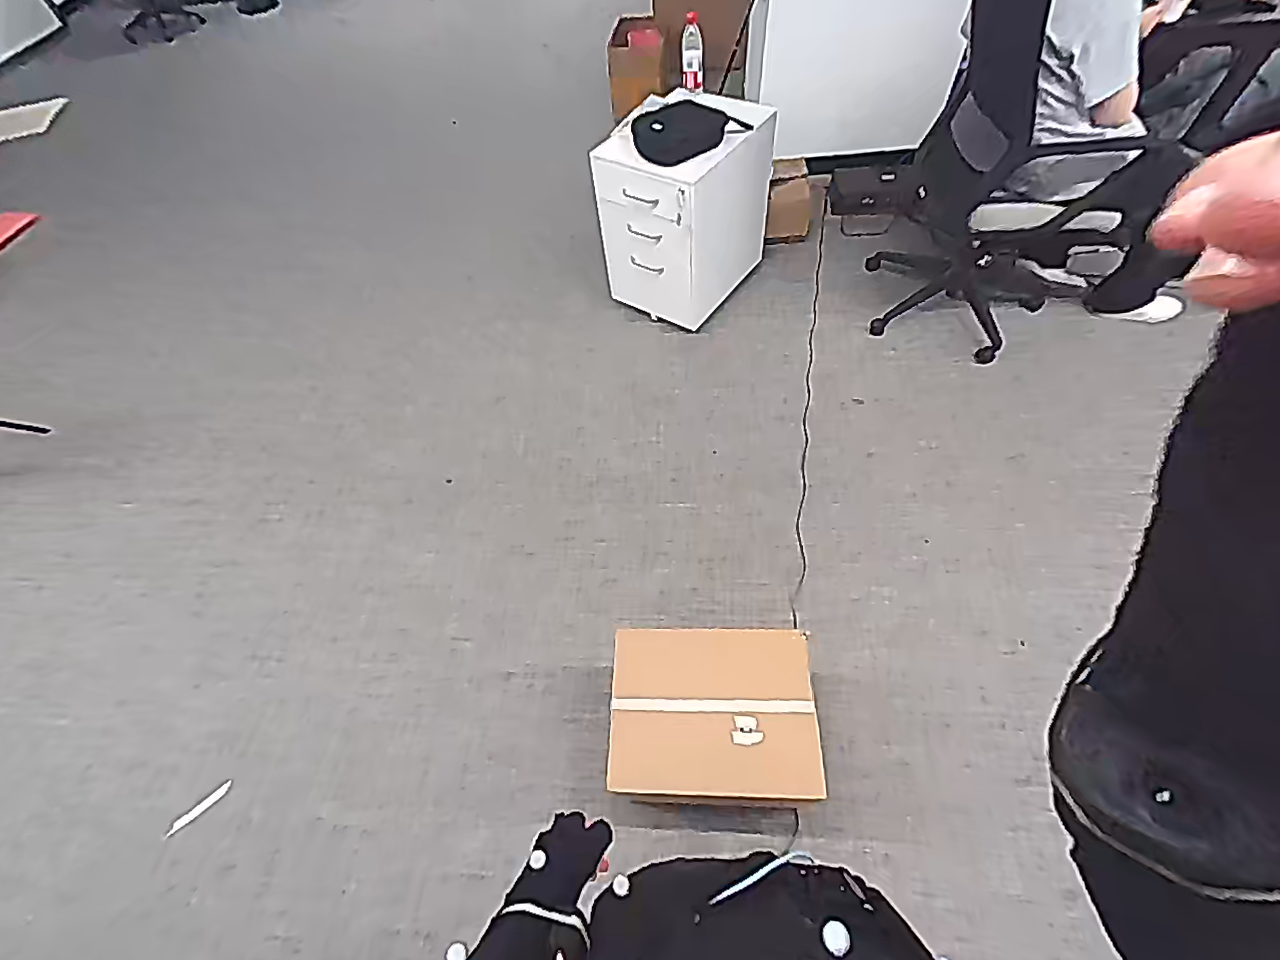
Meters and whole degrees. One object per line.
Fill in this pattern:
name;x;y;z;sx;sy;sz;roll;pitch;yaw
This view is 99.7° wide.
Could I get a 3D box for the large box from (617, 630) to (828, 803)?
large box;0.166;0.538;1.217;0.408;0.320;0.320;-1;57;5
